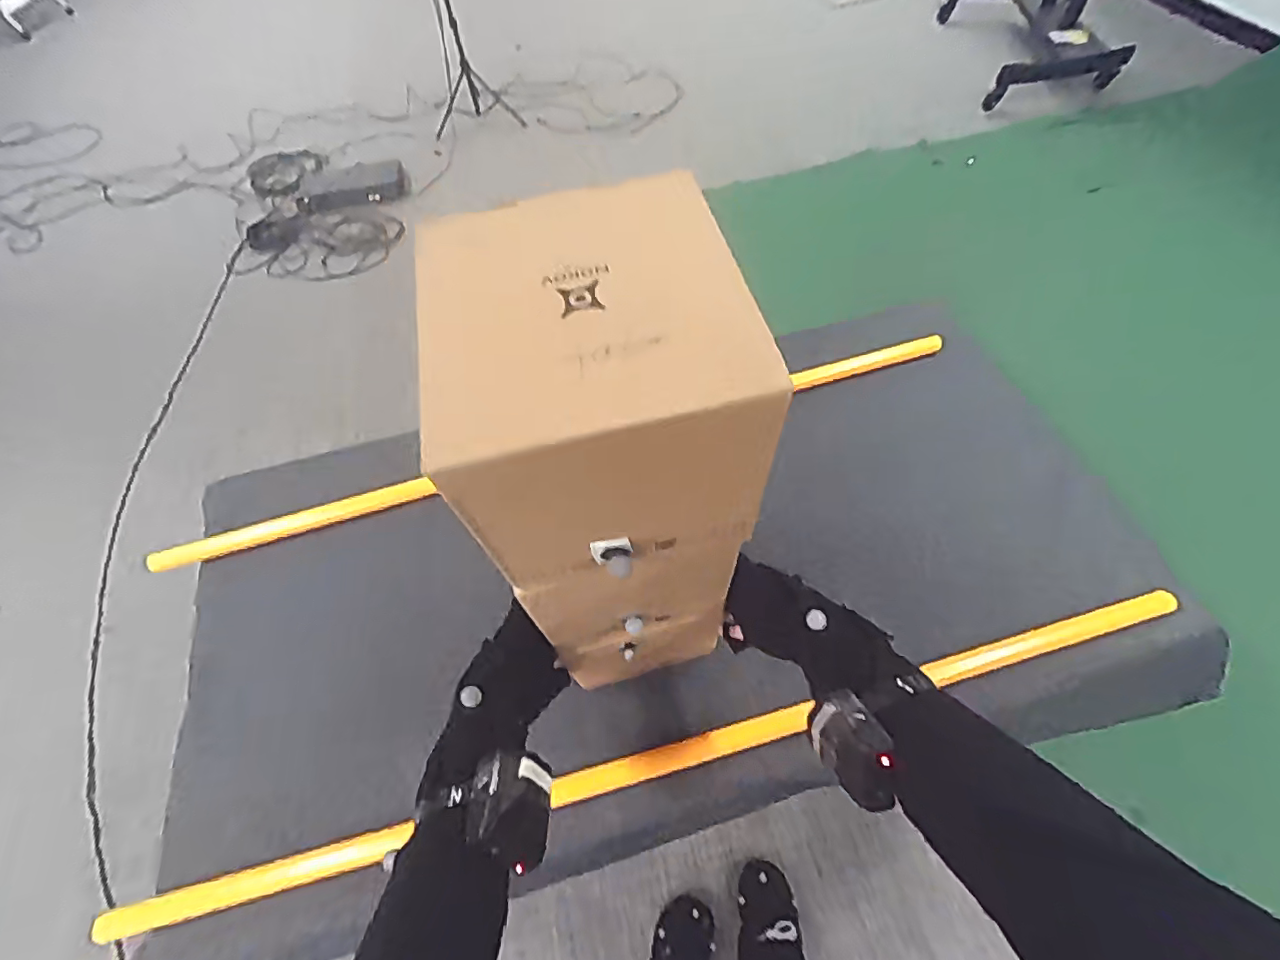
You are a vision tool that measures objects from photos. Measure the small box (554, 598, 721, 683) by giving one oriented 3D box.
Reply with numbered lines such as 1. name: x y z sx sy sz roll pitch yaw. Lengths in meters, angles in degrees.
1. small box: -0.016 0.117 0.629 0.168 0.176 0.179 -15 60 -4

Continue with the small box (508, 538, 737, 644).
1. small box: -0.024 0.028 0.489 0.168 0.176 0.179 -13 61 -4

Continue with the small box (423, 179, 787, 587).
1. small box: -0.026 -0.053 0.349 0.168 0.176 0.179 -13 61 -3
